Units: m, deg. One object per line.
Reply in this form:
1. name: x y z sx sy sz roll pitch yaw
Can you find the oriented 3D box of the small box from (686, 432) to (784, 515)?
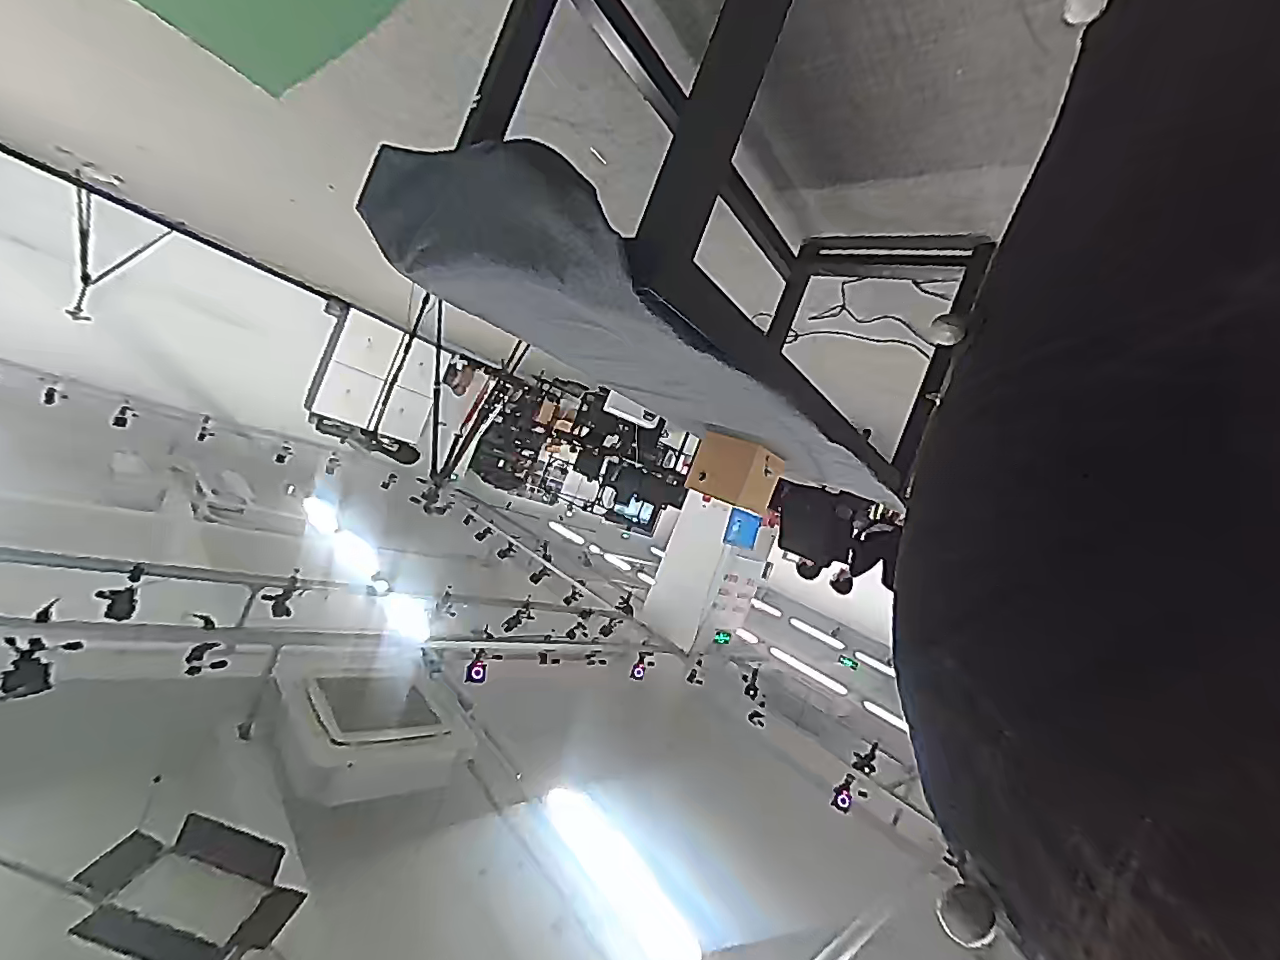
1. small box: 0.262 -0.022 1.471 0.179 0.176 0.168 21 180 41
